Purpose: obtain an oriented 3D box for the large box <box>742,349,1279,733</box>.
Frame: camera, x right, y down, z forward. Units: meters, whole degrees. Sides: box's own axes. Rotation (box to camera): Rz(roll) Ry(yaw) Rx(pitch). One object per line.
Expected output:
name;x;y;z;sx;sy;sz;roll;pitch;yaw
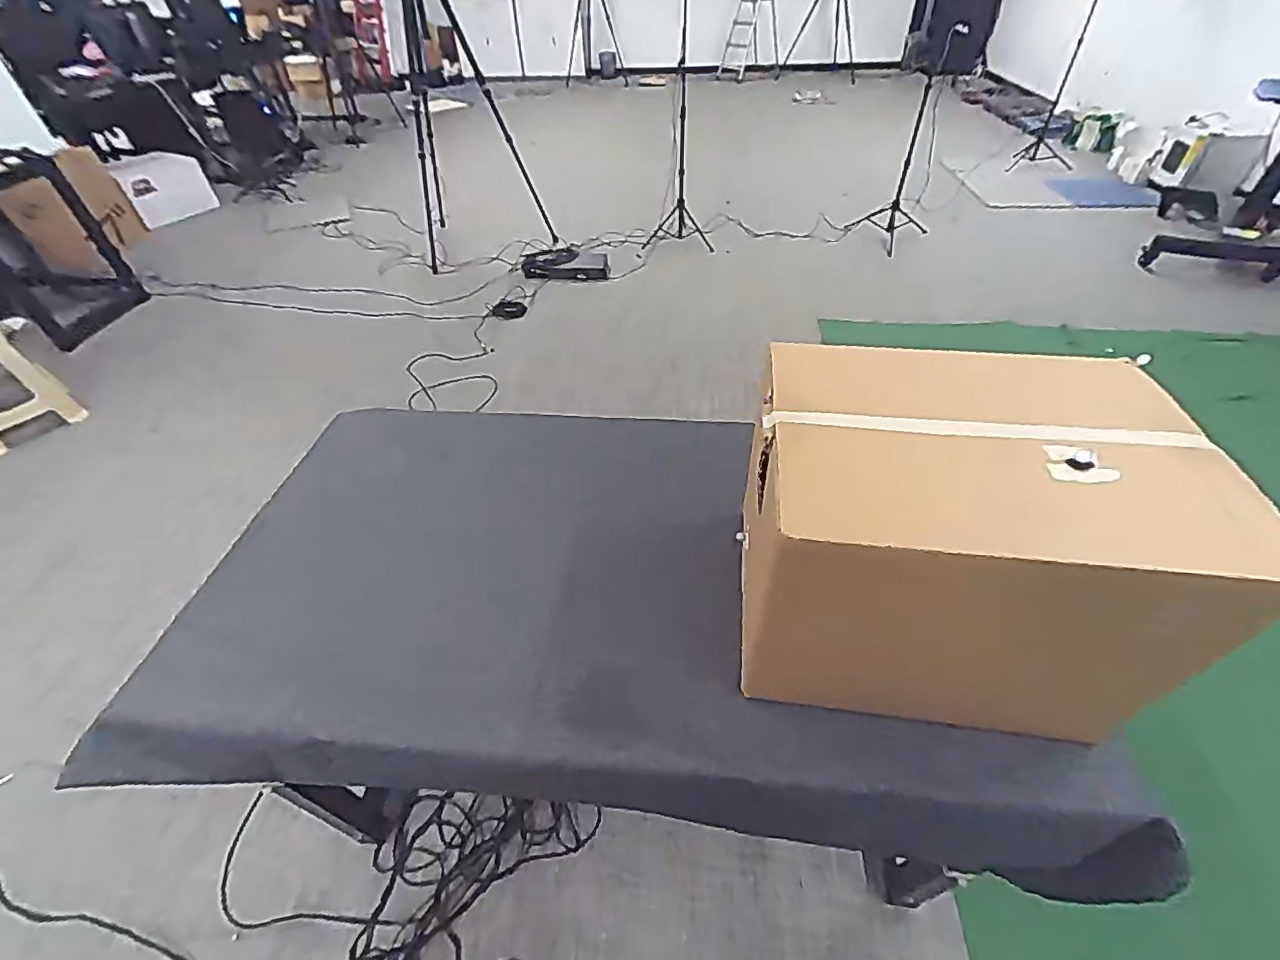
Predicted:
large box;0.340;0.065;0.639;0.408;0.320;0.320;5;45;6
